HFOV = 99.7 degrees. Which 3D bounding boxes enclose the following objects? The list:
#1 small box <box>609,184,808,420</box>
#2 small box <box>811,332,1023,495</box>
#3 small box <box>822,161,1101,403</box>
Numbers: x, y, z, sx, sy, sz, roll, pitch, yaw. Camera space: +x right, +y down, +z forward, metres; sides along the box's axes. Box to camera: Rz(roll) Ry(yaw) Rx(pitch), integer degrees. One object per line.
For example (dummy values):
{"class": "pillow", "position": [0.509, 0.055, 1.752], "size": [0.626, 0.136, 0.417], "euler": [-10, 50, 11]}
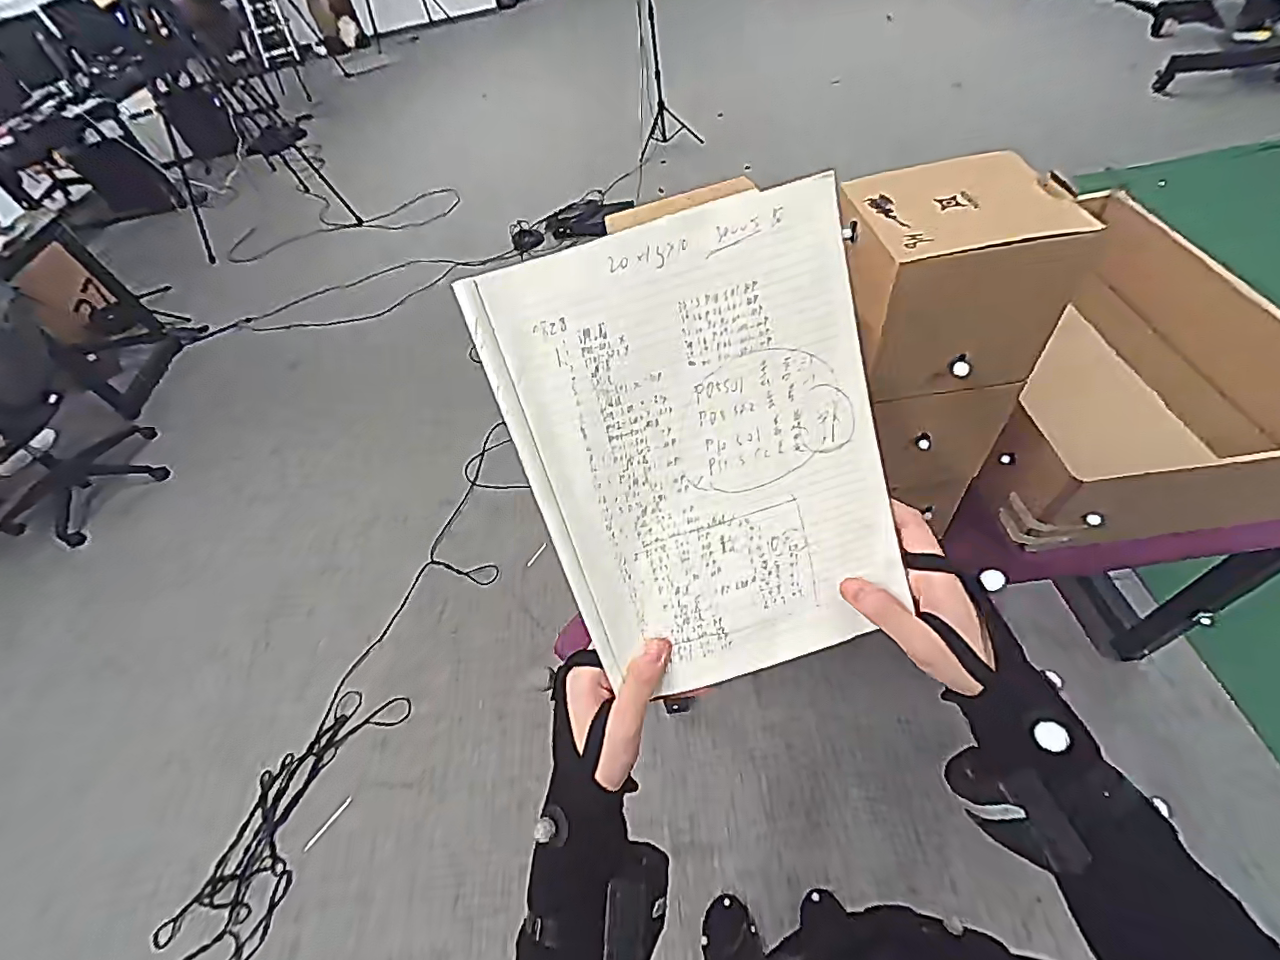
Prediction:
{"class": "small box", "position": [0.073, -0.198, 0.614], "size": [0.168, 0.176, 0.179], "euler": [-17, 51, -1]}
{"class": "small box", "position": [0.333, -0.099, 0.695], "size": [0.179, 0.176, 0.168], "euler": [-8, 50, 5]}
{"class": "small box", "position": [0.308, -0.202, 0.569], "size": [0.179, 0.176, 0.168], "euler": [-8, 49, 4]}
